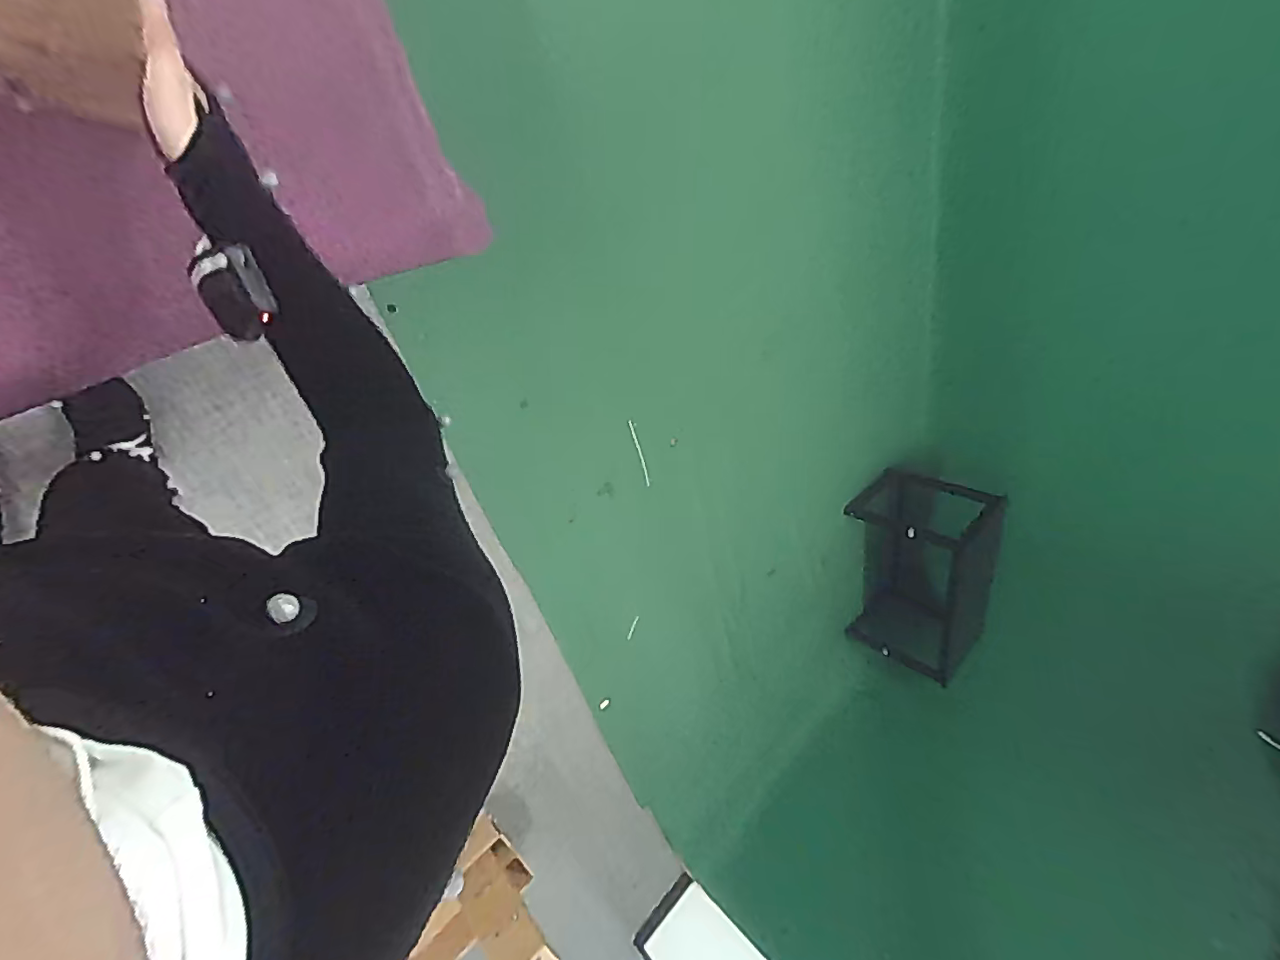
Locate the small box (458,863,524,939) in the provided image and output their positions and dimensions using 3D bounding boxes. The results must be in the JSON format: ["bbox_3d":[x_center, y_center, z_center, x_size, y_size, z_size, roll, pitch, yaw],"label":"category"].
[{"bbox_3d":[-0.522,1.532,1.941,0.168,0.176,0.179,-34,127,-29],"label":"small box"}]

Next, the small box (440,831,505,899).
[{"bbox_3d":[-0.629,1.488,2.057,0.168,0.176,0.179,-33,127,-29],"label":"small box"}]

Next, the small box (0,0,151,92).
[{"bbox_3d":[-0.406,-0.366,0.310,0.168,0.176,0.179,-10,111,-40],"label":"small box"}]

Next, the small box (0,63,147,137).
[{"bbox_3d":[-0.512,-0.405,0.427,0.168,0.176,0.179,-8,110,-40],"label":"small box"}]

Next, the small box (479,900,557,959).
[{"bbox_3d":[-0.415,1.576,1.825,0.168,0.176,0.179,-36,129,-28],"label":"small box"}]
